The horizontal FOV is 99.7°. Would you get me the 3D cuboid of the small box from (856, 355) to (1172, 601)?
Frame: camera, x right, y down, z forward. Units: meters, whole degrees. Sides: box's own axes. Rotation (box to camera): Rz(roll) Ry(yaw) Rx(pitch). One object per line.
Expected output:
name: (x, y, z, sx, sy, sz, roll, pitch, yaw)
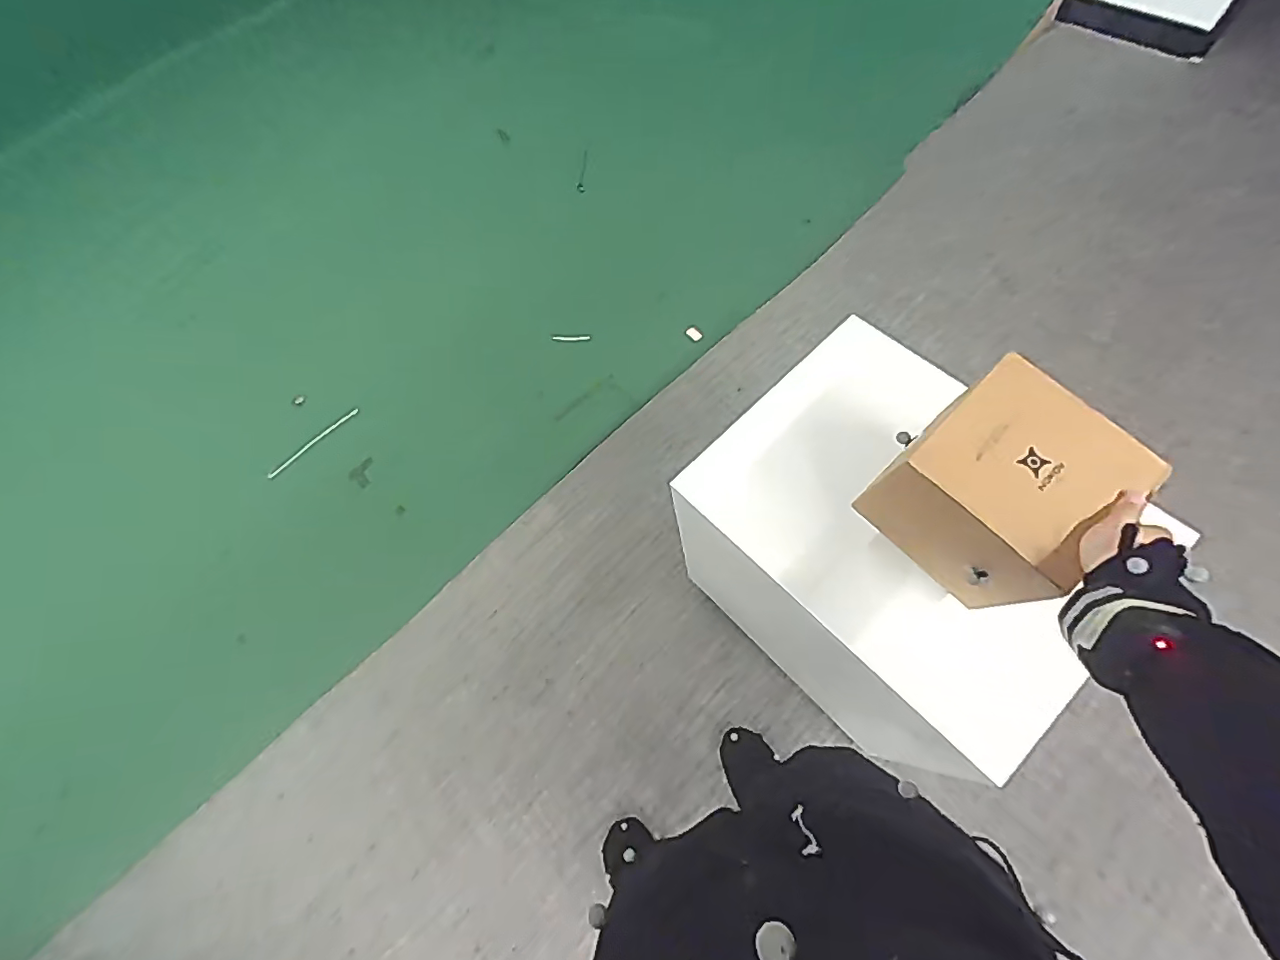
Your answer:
small box: (0.368, 0.011, 0.570, 0.168, 0.176, 0.179, -43, 74, -11)
